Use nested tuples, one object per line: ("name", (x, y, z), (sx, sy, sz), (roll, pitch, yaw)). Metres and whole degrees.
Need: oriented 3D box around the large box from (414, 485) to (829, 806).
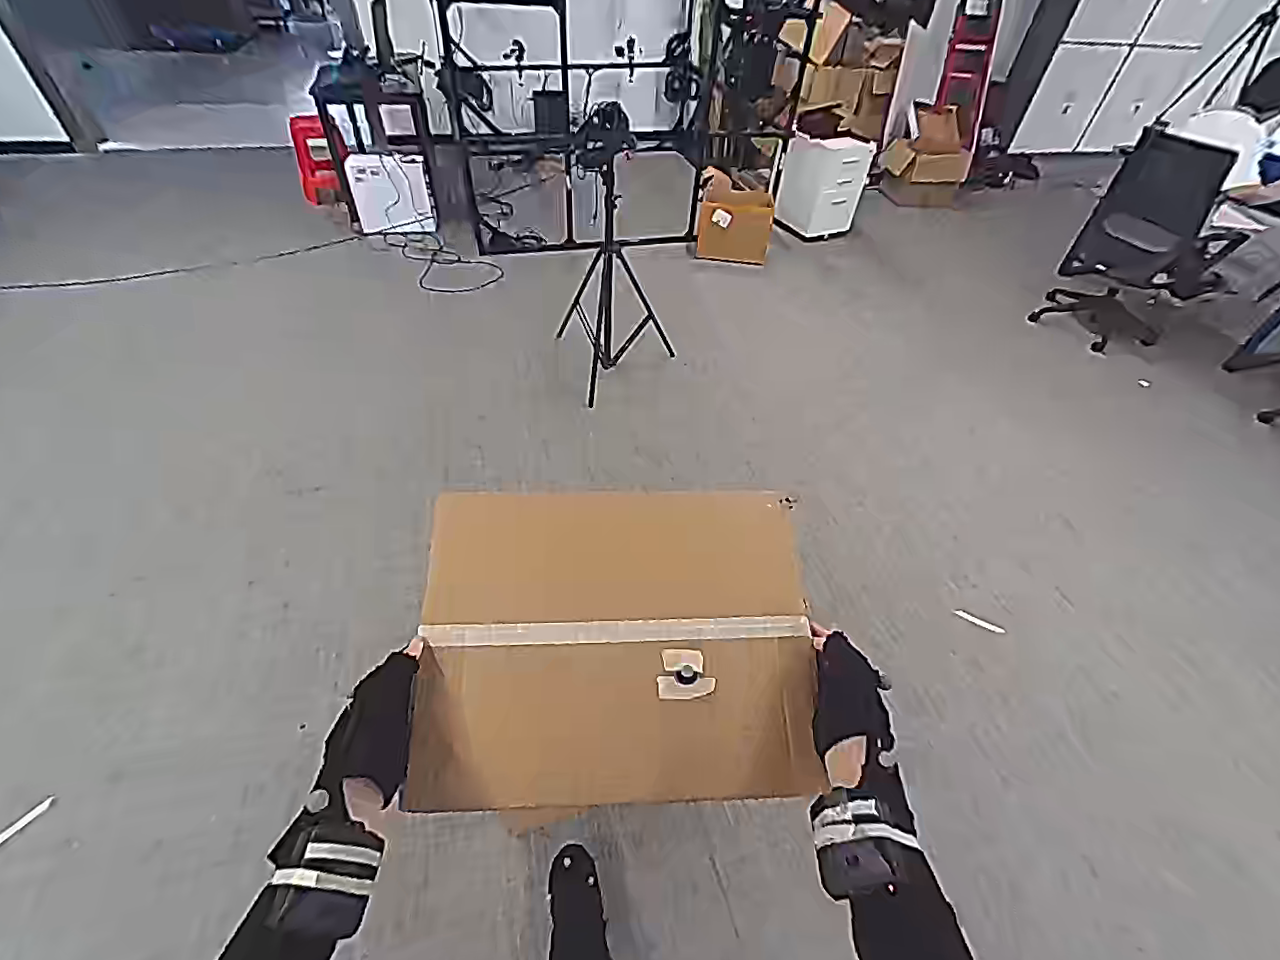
("large box", (-0.032, 0.212, 0.704), (0.408, 0.320, 0.320), (-1, 67, -5))
